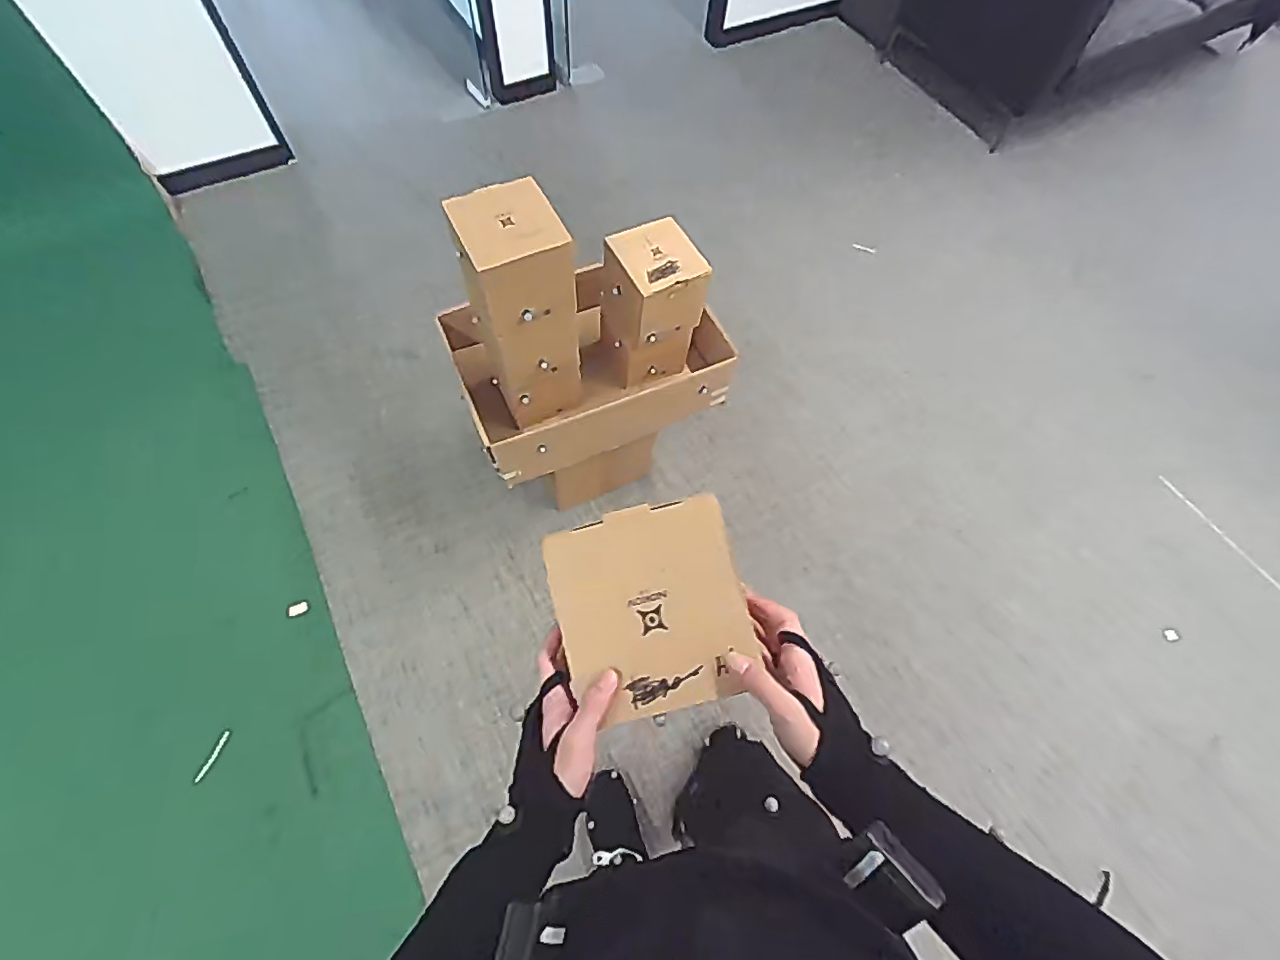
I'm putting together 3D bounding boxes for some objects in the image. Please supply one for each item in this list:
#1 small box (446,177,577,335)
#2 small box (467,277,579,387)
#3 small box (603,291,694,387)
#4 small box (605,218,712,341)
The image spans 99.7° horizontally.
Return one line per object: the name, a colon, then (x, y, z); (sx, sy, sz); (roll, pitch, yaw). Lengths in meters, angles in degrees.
small box: (-0.223, -0.394, 0.964); (0.168, 0.176, 0.179); (-24, 68, -14)
small box: (-0.235, -0.325, 1.112); (0.168, 0.176, 0.179); (-24, 69, -14)
small box: (0.012, -0.360, 1.331); (0.168, 0.176, 0.179); (-20, 68, -13)
small box: (0.034, -0.428, 1.182); (0.168, 0.176, 0.179); (-24, 69, -15)
